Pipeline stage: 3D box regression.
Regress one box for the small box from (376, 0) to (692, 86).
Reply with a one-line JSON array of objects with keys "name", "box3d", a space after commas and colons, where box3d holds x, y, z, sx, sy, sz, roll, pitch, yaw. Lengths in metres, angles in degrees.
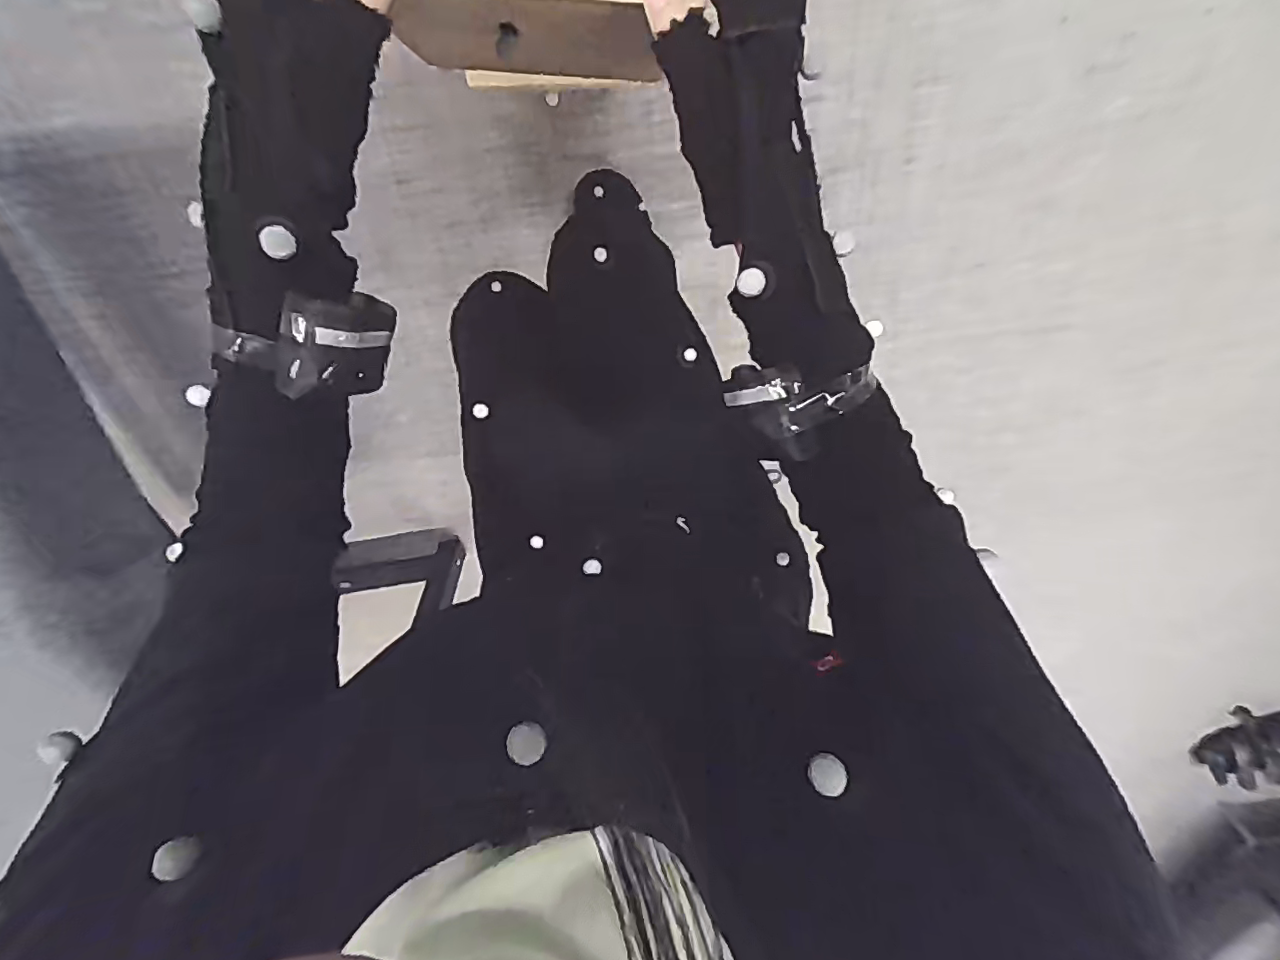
[{"name": "small box", "box3d": [-0.060, -0.334, 0.293, 0.179, 0.176, 0.168, 1, 116, -5]}]
